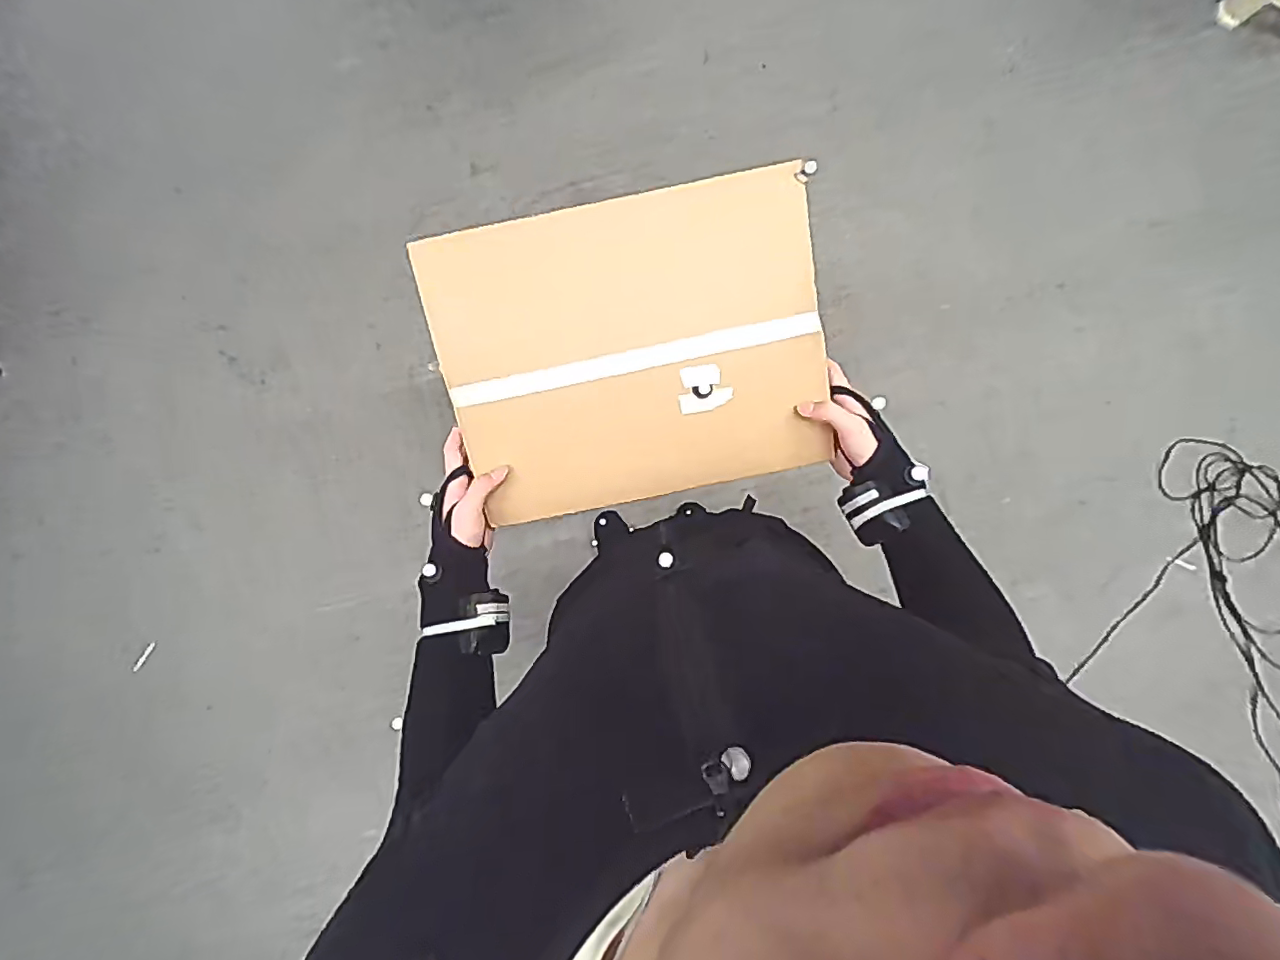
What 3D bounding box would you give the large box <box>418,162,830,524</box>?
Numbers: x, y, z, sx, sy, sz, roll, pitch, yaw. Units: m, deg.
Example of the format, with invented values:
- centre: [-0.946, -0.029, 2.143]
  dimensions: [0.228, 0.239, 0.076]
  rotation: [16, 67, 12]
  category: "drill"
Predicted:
- centre: [-0.013, -0.172, 0.731]
  dimensions: [0.408, 0.320, 0.320]
  rotation: [-12, 106, 0]
  category: "large box"
